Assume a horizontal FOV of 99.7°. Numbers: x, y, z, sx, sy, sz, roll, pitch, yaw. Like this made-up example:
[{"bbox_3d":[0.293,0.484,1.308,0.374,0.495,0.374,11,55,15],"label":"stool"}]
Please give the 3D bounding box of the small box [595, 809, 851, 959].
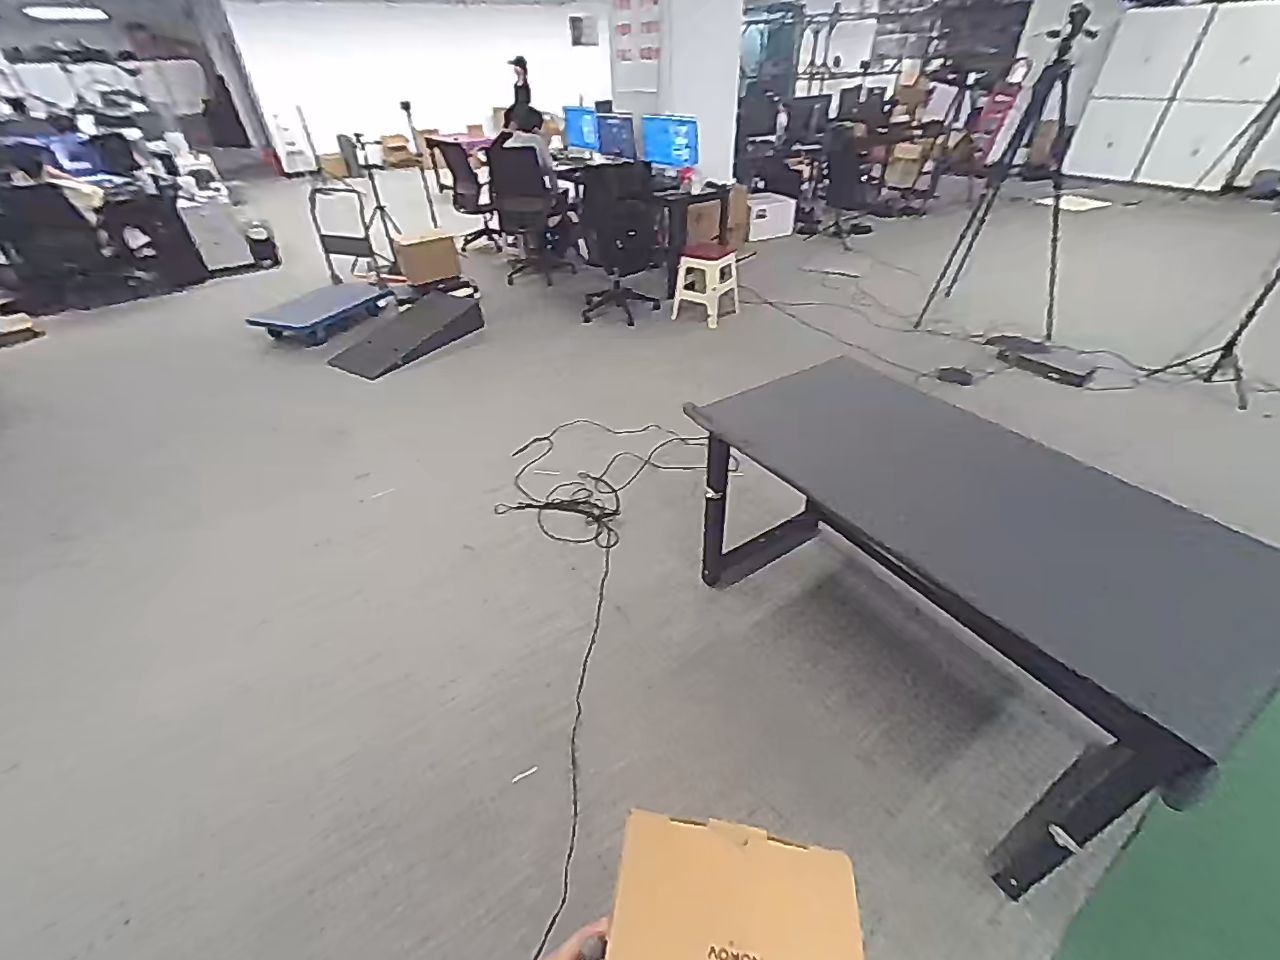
[{"bbox_3d":[0.049,0.377,0.388,0.168,0.176,0.179,8,38,4],"label":"small box"}]
